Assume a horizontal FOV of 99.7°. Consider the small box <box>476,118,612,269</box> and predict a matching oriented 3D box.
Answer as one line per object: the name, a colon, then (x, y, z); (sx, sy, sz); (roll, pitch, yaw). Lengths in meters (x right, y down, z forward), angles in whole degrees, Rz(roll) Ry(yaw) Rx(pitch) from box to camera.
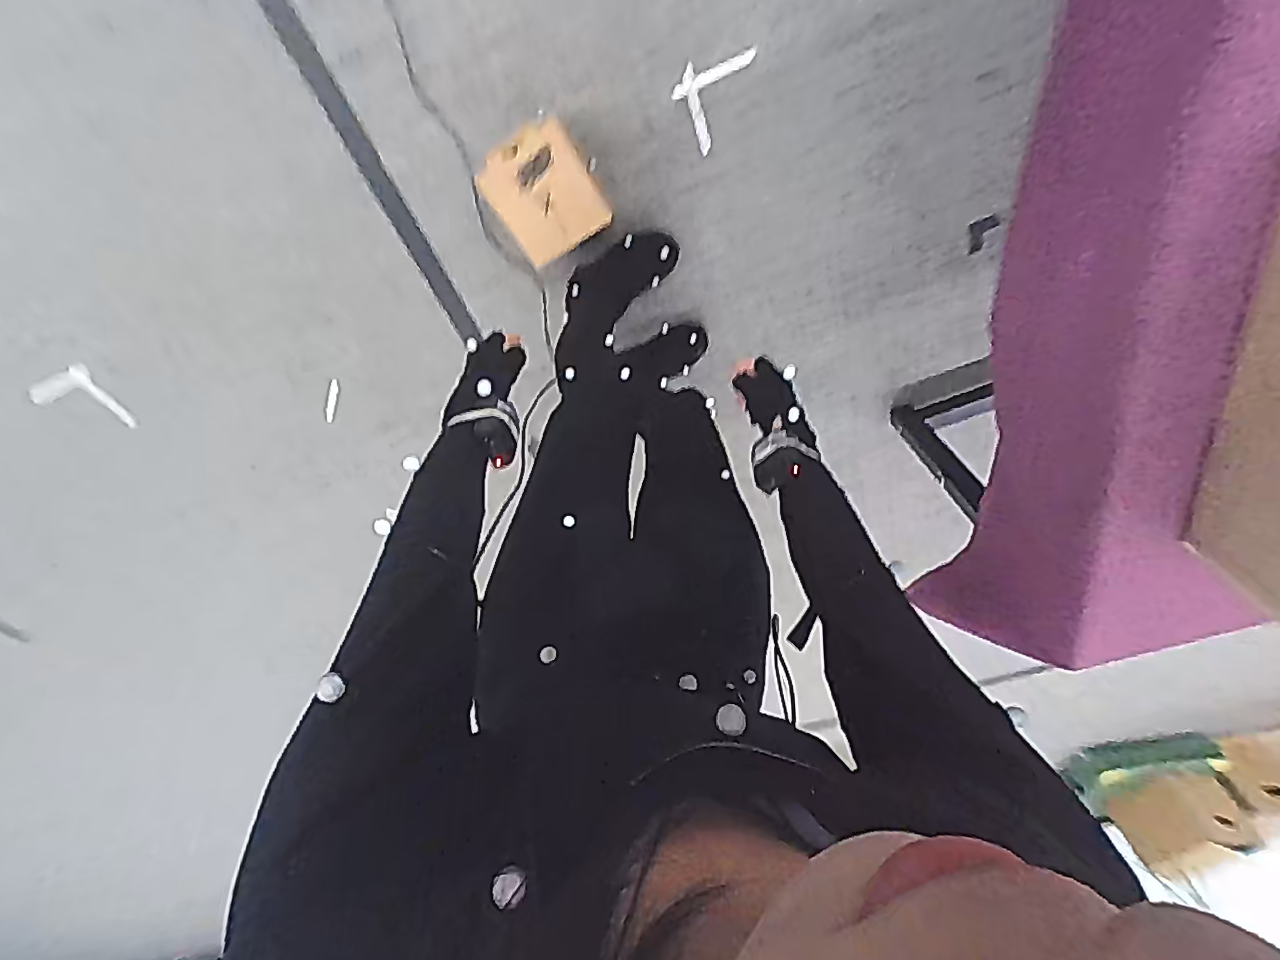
small box: (-0.167, -0.523, 0.979); (0.168, 0.176, 0.179); (-27, 126, 15)
